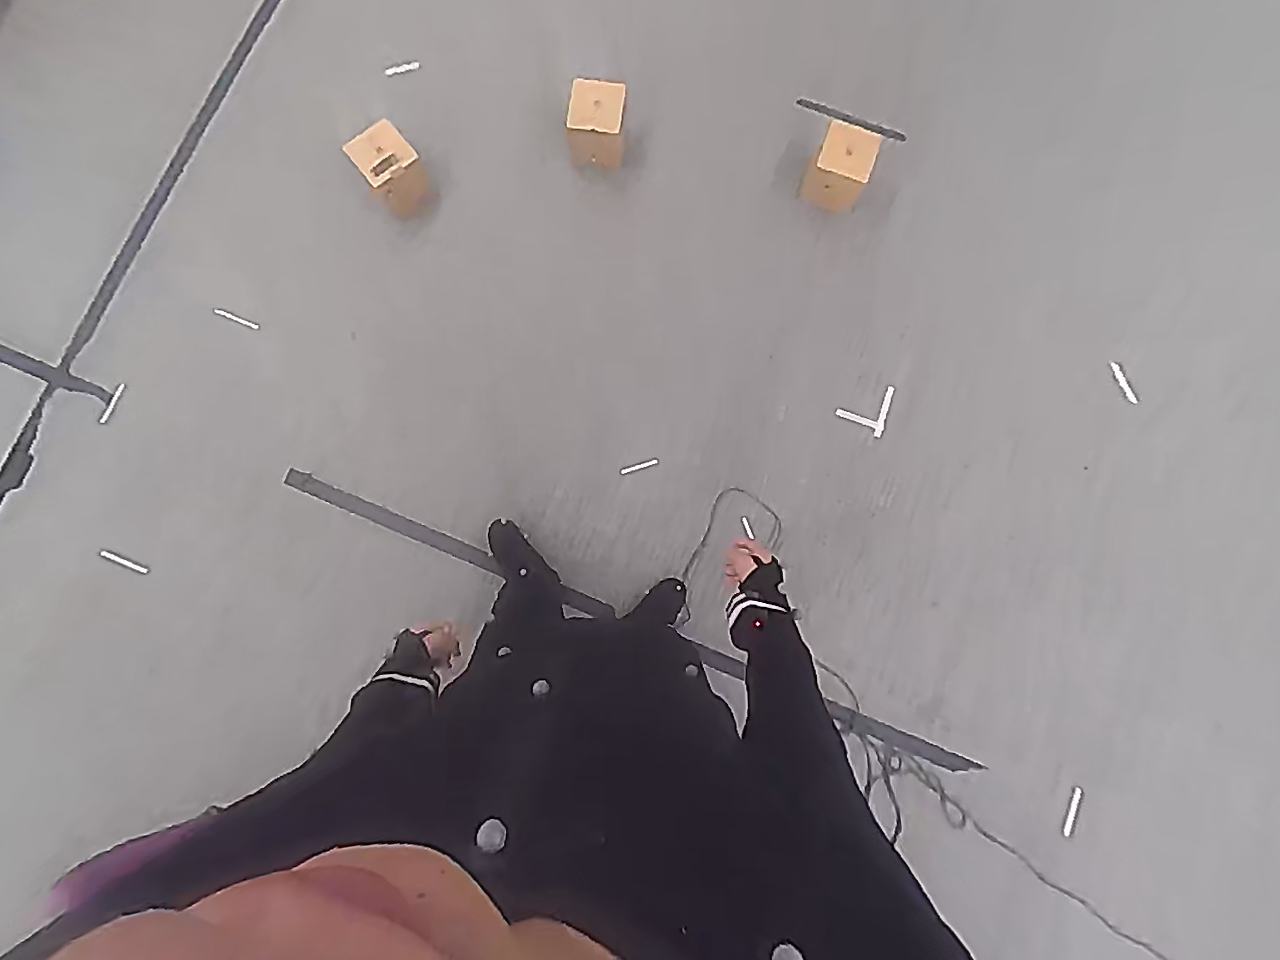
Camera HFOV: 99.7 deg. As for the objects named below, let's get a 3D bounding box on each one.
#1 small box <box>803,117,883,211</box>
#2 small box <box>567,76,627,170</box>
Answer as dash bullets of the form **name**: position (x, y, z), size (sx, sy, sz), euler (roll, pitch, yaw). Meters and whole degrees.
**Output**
- **small box**: position (0.640, -1.001, 1.729), size (0.168, 0.176, 0.179), euler (20, 82, 2)
- **small box**: position (-0.134, -1.138, 1.733), size (0.168, 0.176, 0.179), euler (7, 83, 0)
